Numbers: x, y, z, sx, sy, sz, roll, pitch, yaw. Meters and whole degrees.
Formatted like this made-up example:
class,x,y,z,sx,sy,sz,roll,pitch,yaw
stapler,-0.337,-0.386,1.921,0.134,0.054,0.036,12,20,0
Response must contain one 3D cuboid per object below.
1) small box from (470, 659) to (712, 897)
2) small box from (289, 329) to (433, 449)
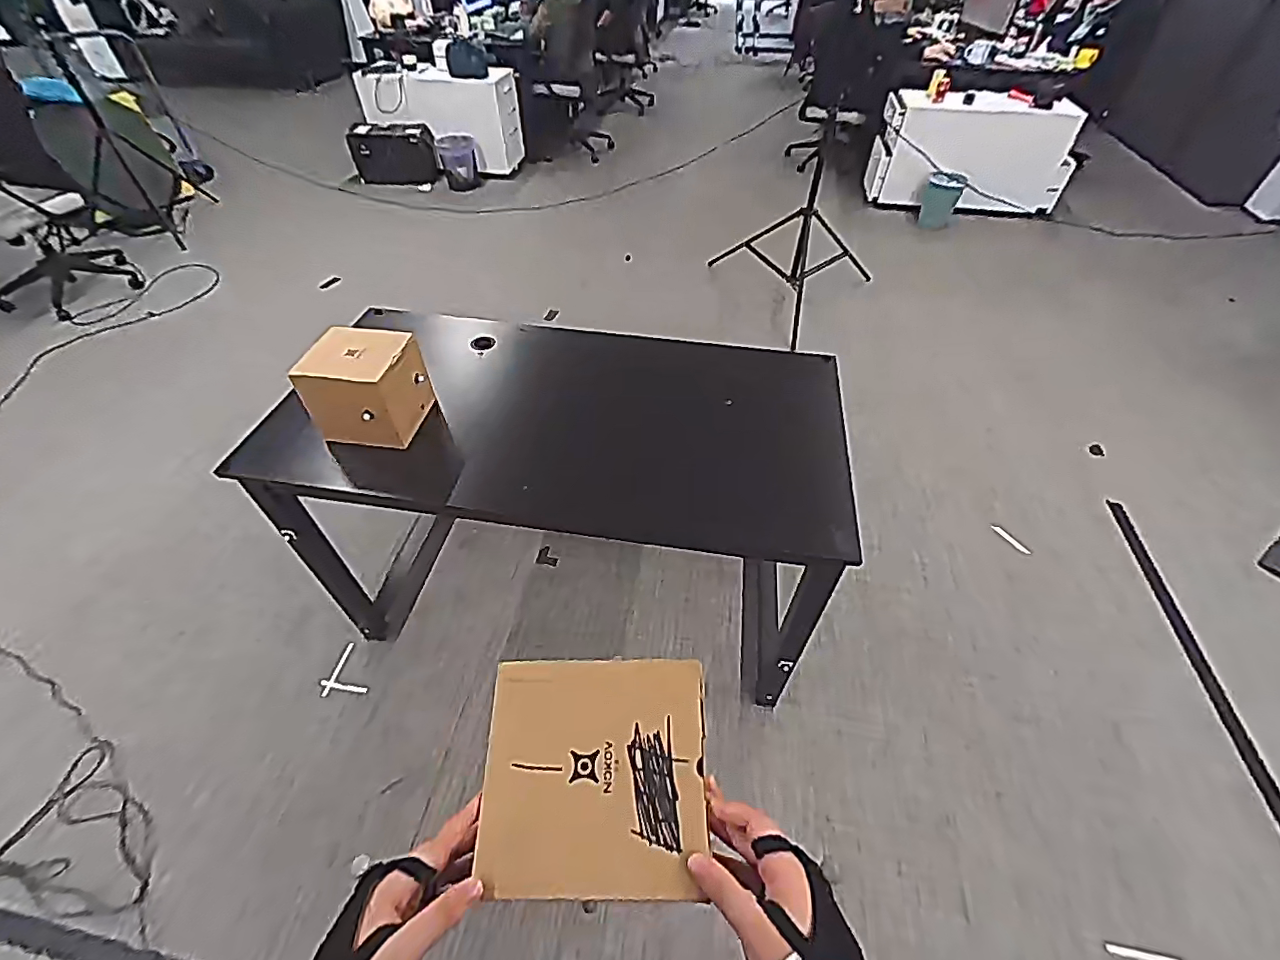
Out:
class,x,y,z,sx,sy,sz,roll,pitch,yaw
small box,-0.033,0.265,0.494,0.179,0.176,0.168,-2,58,2
small box,-0.541,-0.179,1.083,0.179,0.176,0.168,5,47,5
